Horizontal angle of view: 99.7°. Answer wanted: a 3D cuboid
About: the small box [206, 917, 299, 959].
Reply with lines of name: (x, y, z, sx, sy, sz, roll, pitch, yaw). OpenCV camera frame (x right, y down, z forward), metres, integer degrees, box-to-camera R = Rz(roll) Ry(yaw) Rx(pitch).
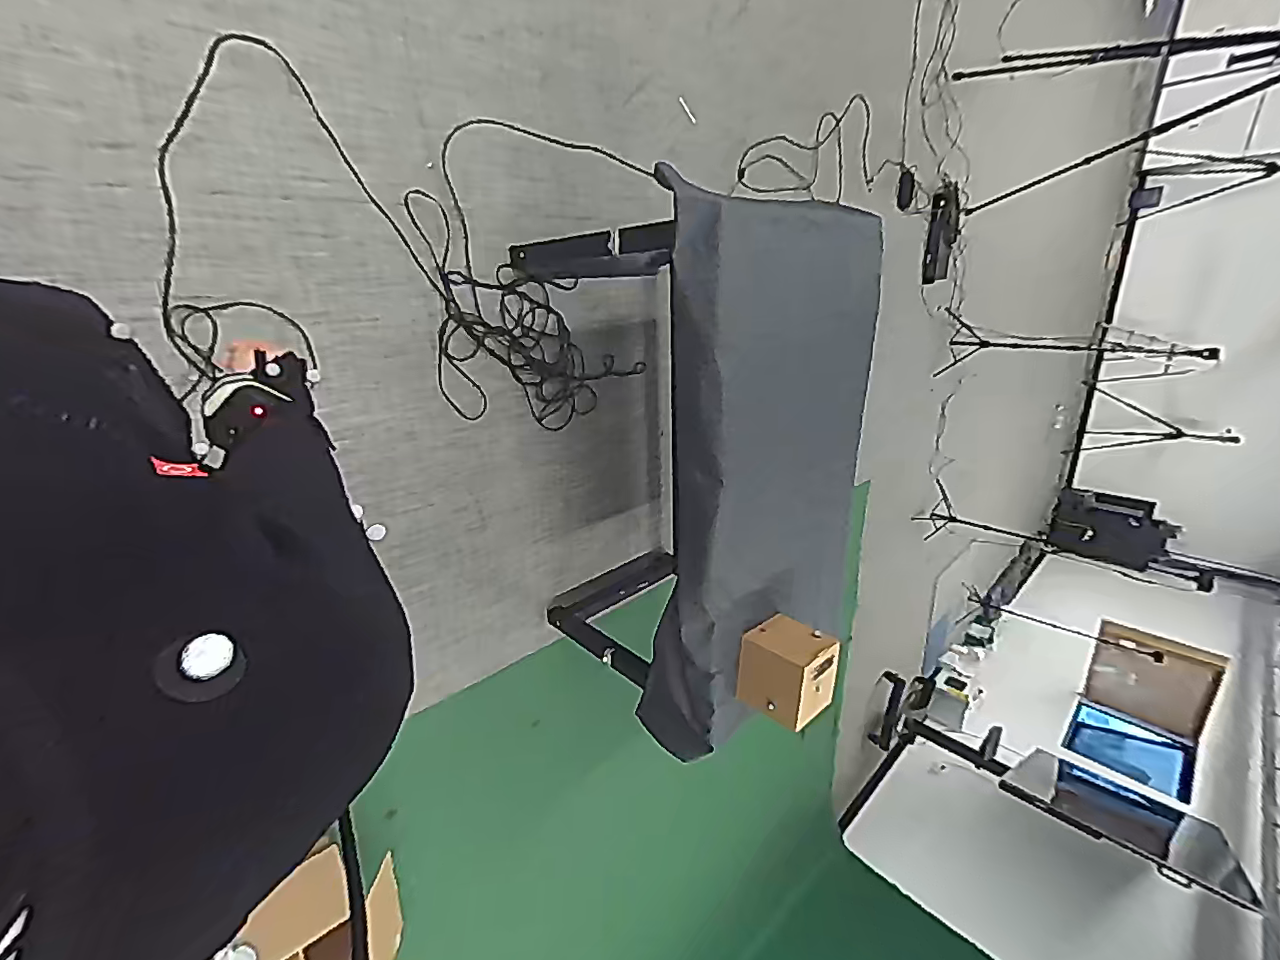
small box: (-0.818, 1.102, 1.151, 0.168, 0.176, 0.179, -14, 114, -41)
